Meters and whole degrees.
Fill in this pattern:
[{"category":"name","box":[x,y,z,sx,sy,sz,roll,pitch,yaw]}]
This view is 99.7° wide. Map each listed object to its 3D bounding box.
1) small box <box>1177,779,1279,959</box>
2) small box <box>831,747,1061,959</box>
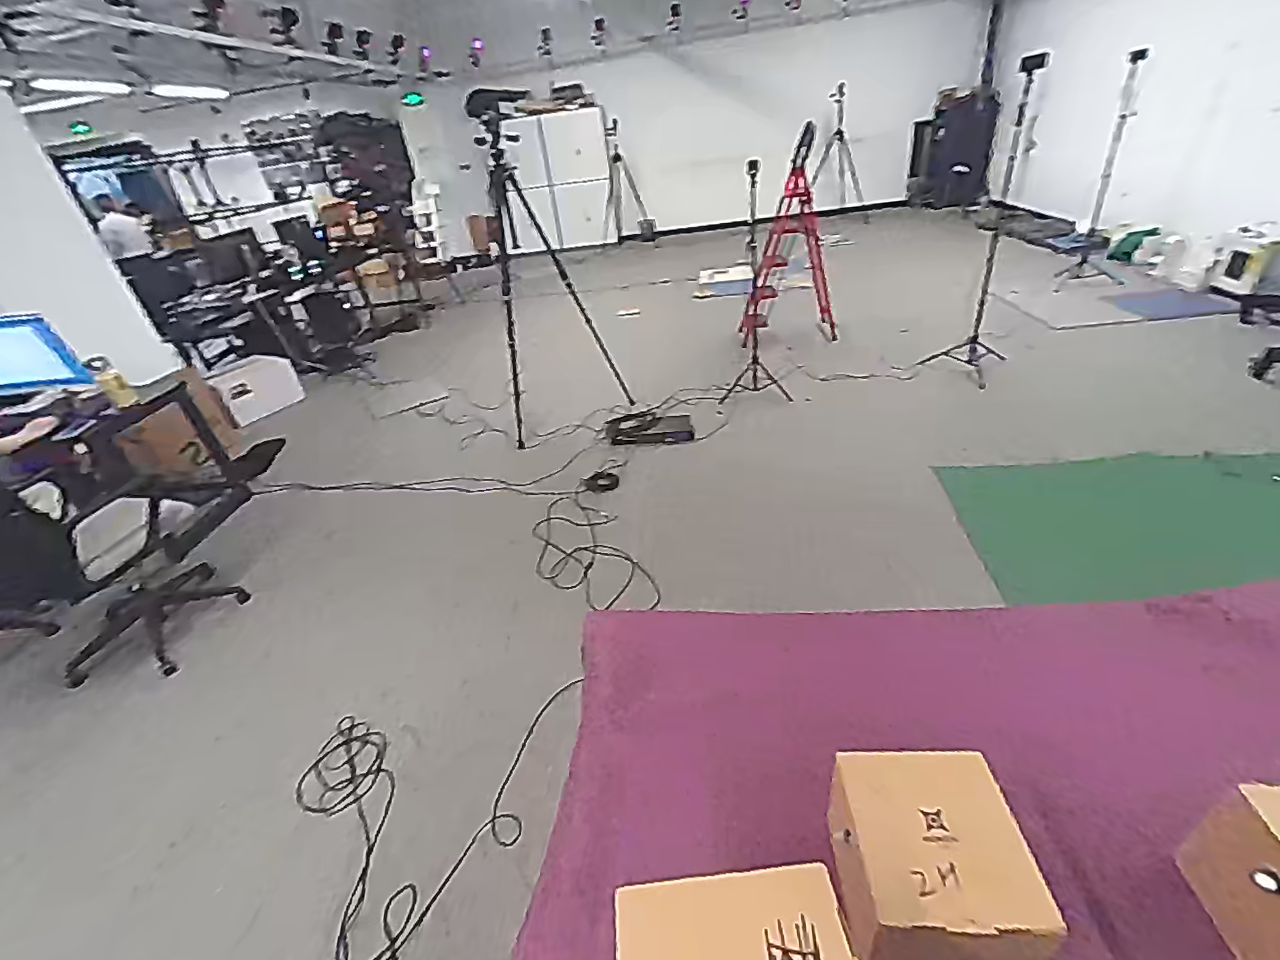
[{"category":"small box","box":[0.708,0.430,0.536,0.168,0.176,0.179,-3,33,8]},{"category":"small box","box":[0.321,0.434,0.614,0.168,0.176,0.179,-5,31,7]}]
